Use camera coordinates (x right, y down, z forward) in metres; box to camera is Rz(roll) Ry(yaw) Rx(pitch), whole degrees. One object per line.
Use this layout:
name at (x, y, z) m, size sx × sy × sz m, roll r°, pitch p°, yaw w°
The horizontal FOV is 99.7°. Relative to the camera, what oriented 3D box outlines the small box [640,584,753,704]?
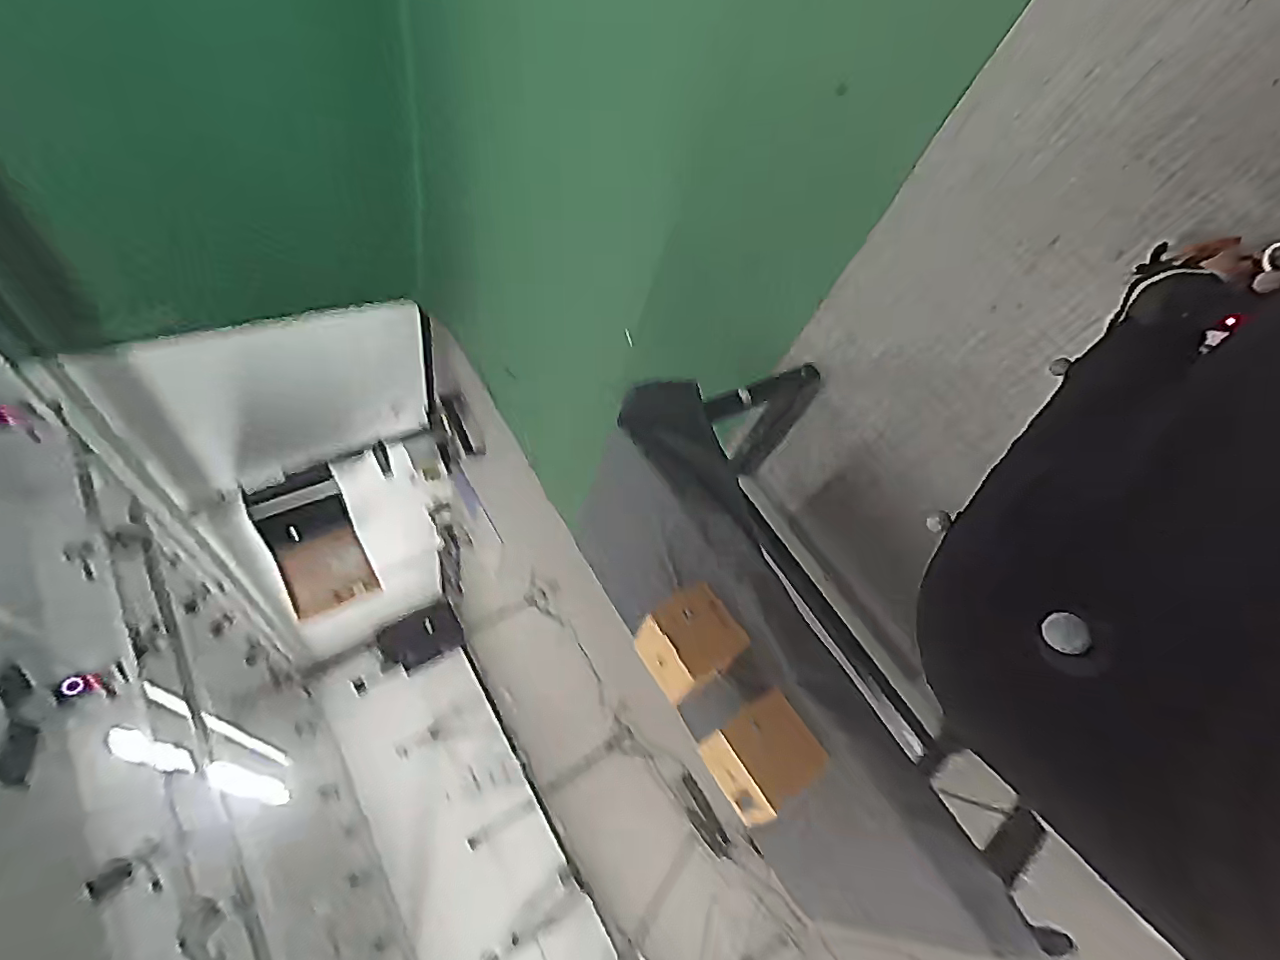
small box at (0.127, 0.363, 1.213) m, size 0.168 × 0.176 × 0.179 m, roll 52°, pitch 148°, yaw 27°
